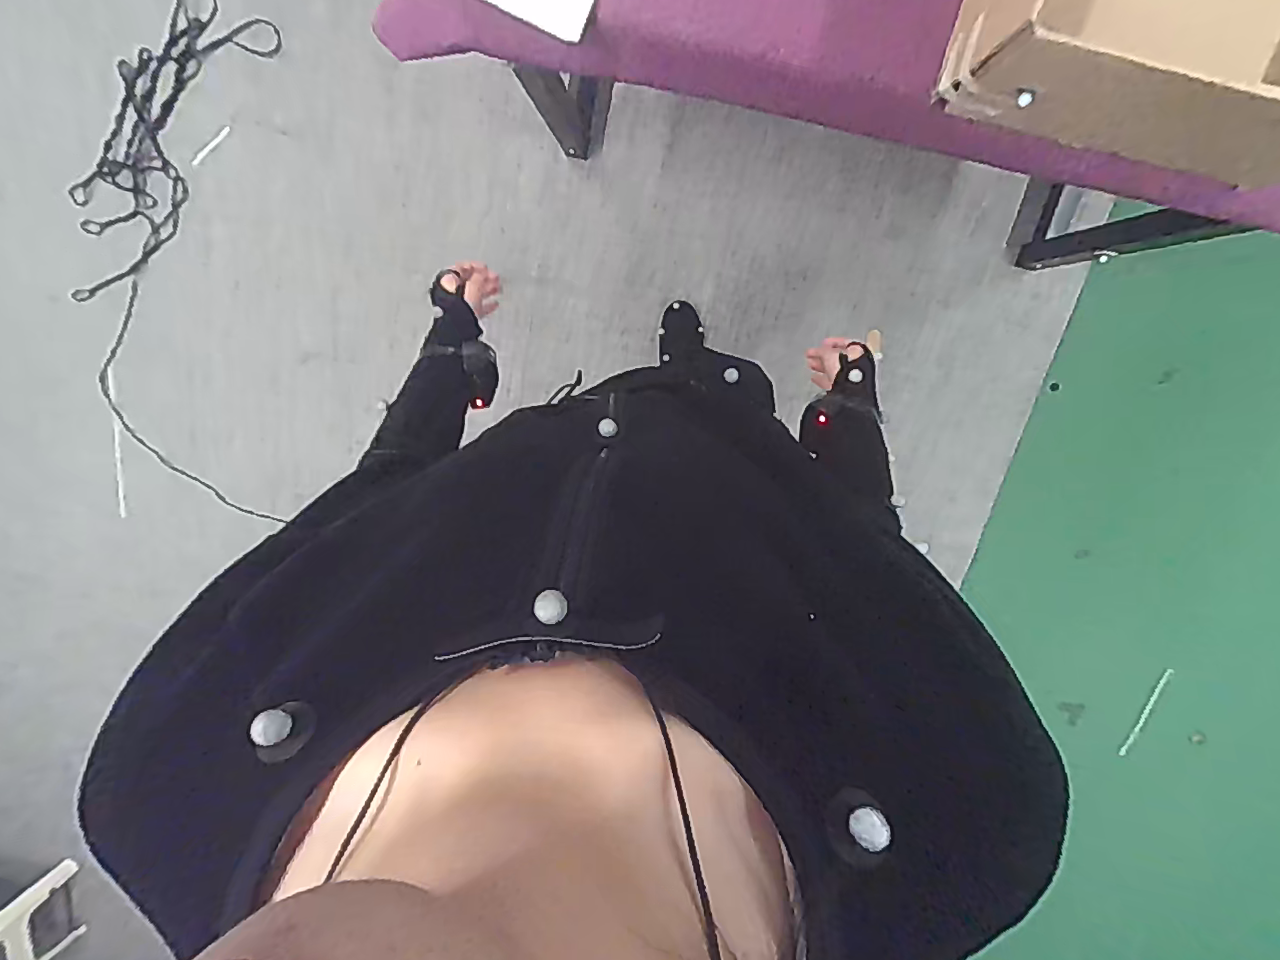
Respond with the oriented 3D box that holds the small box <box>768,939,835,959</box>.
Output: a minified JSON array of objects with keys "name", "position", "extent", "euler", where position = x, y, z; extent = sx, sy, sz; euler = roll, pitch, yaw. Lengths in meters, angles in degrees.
[{"name":"small box","position":[0.431,1.365,1.430],"extent":[0.179,0.176,0.168],"euler":[3,104,3]}]
